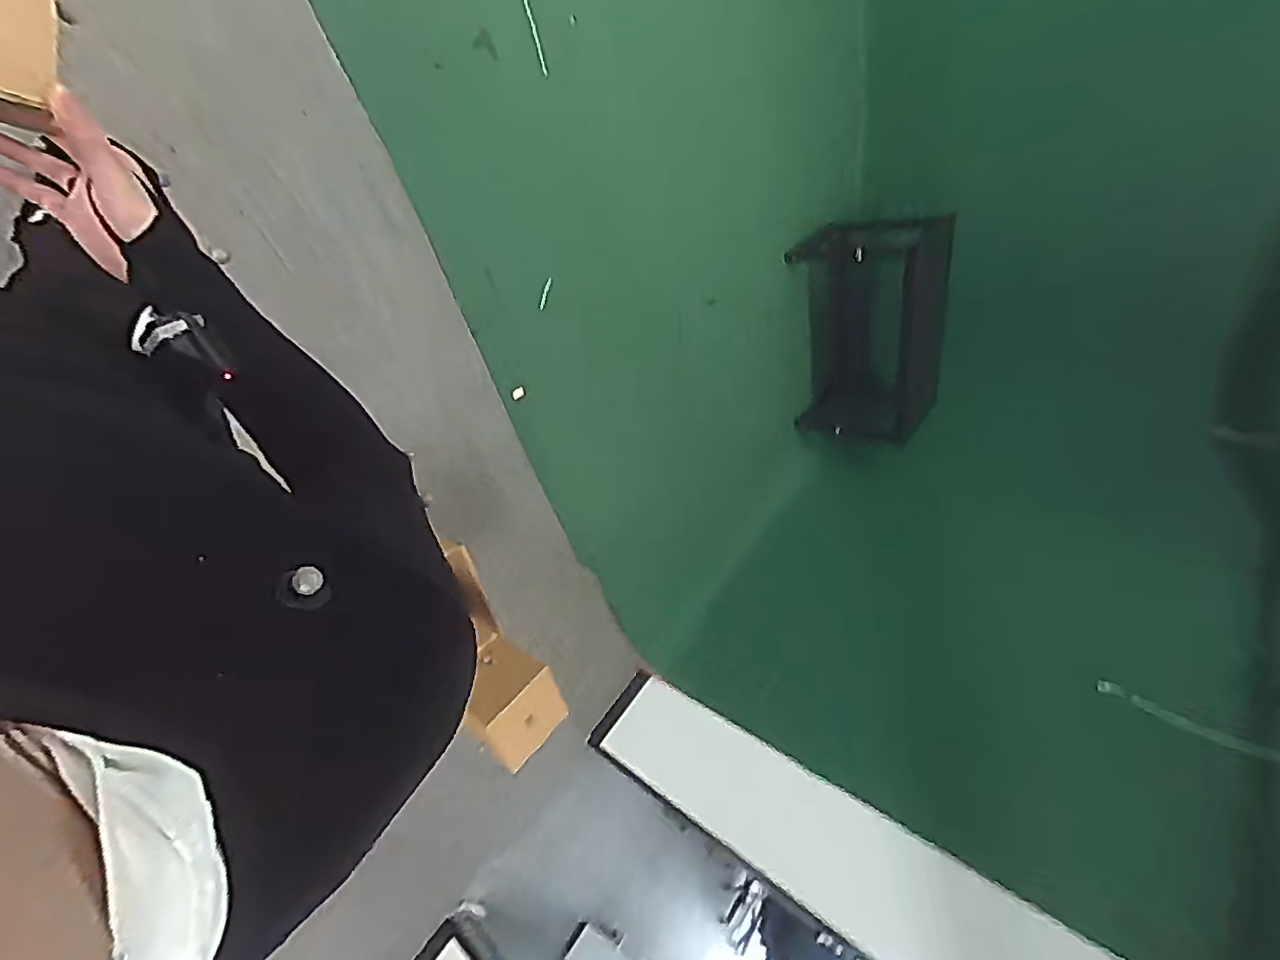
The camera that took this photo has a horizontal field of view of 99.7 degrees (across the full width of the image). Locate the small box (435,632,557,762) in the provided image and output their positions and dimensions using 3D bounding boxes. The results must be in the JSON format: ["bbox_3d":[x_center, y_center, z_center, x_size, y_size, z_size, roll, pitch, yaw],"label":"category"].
[{"bbox_3d":[-0.316,0.469,1.194,0.168,0.176,0.179,-41,134,-35],"label":"small box"}]

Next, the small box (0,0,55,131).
[{"bbox_3d":[-0.507,-0.356,0.351,0.168,0.176,0.179,-5,111,-51],"label":"small box"}]
